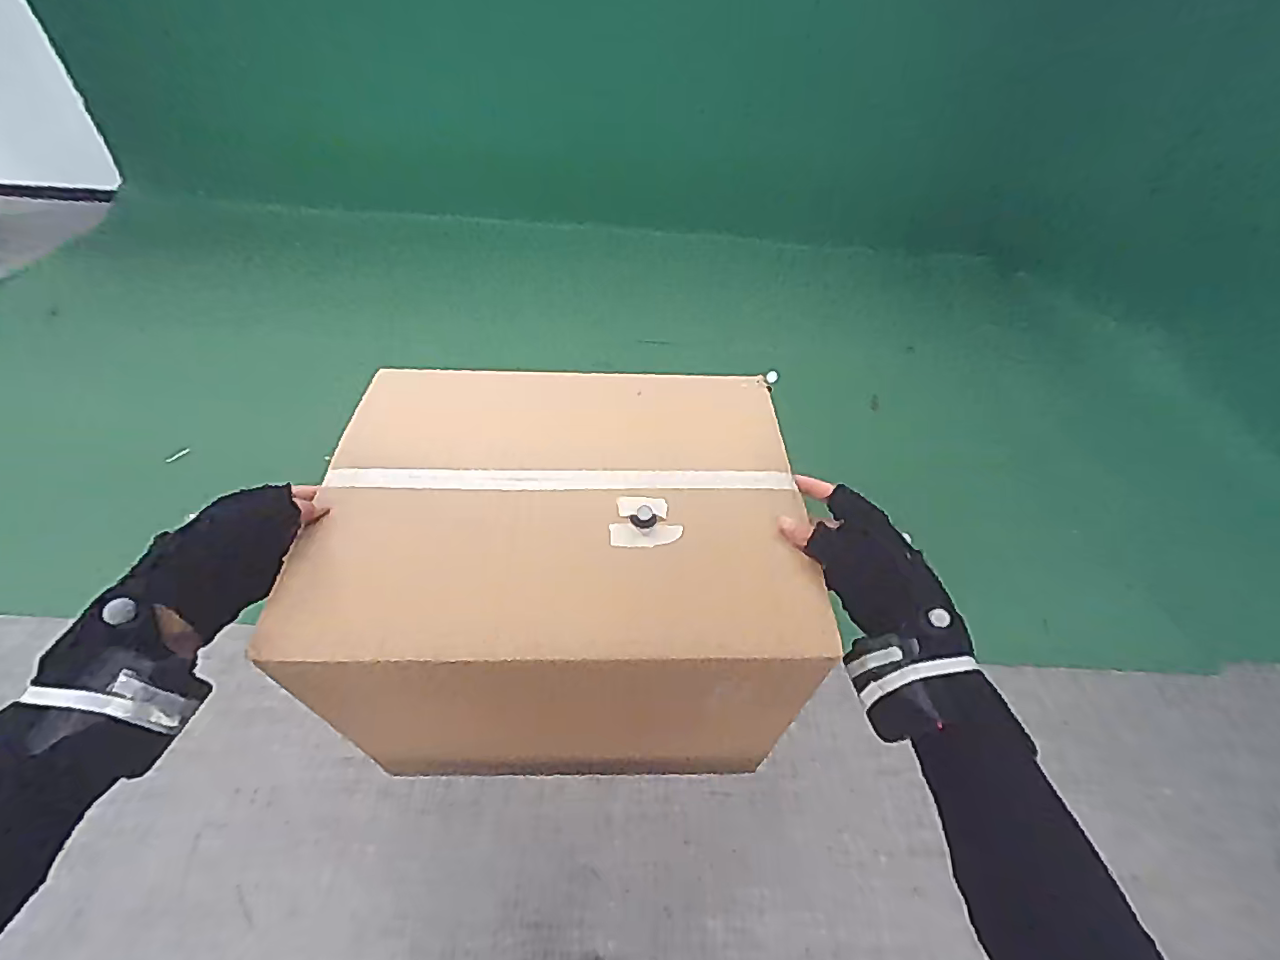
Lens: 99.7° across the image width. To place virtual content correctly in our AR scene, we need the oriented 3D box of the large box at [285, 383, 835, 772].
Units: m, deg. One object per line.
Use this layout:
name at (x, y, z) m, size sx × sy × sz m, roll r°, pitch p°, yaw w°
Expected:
large box at (-0.065, 0.108, 0.595) m, size 0.408 × 0.320 × 0.320 m, roll 0°, pitch 49°, yaw -3°
